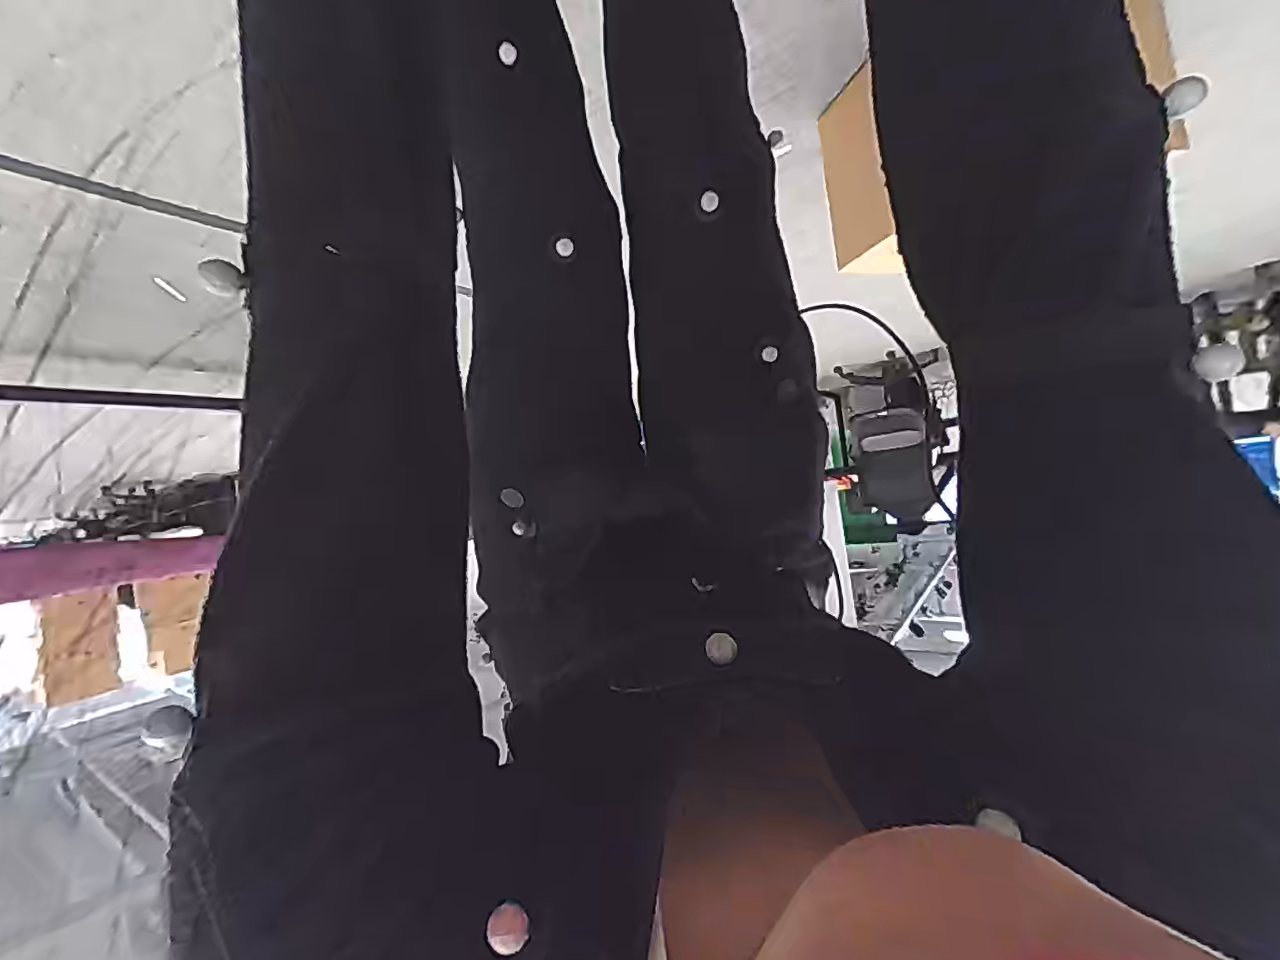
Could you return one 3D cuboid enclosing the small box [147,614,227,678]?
[{"bbox_3d":[-1.531,0.552,1.823,0.179,0.176,0.168,-11,177,32],"label":"small box"}]

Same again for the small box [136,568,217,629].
[{"bbox_3d":[-1.558,0.392,1.813,0.179,0.176,0.168,-9,178,35],"label":"small box"}]

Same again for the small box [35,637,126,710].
[{"bbox_3d":[-1.688,0.570,1.629,0.179,0.176,0.168,-11,178,37],"label":"small box"}]

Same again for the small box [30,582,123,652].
[{"bbox_3d":[-1.705,0.409,1.635,0.179,0.176,0.168,-10,178,34],"label":"small box"}]
